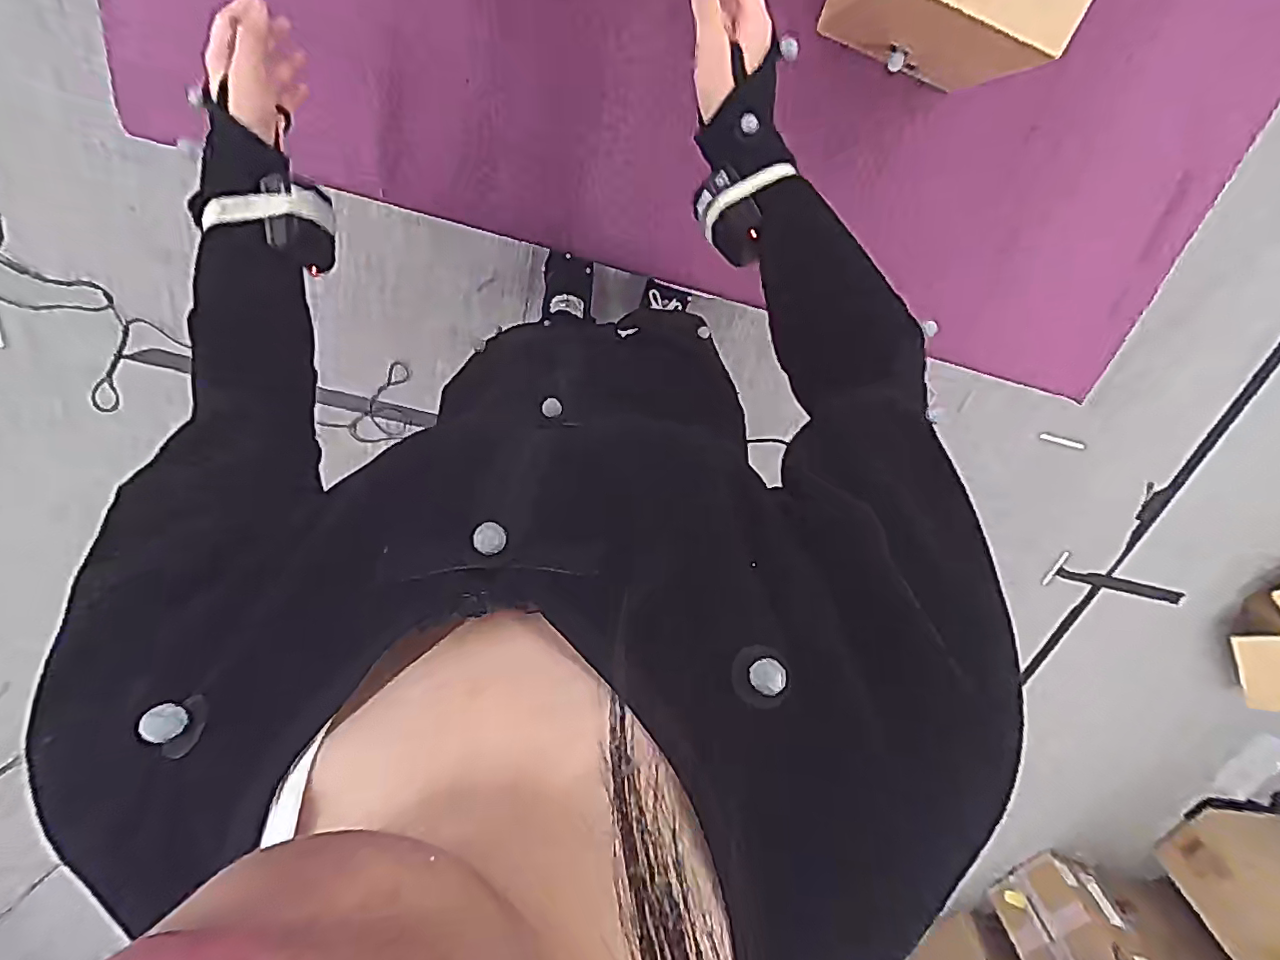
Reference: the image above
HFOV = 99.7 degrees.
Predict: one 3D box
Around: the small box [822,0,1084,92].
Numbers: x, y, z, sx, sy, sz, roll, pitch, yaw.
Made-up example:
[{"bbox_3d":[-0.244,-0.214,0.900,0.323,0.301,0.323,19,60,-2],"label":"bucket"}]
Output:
[{"bbox_3d":[0.284,-0.475,0.466,0.168,0.176,0.179,16,116,-10],"label":"small box"}]
